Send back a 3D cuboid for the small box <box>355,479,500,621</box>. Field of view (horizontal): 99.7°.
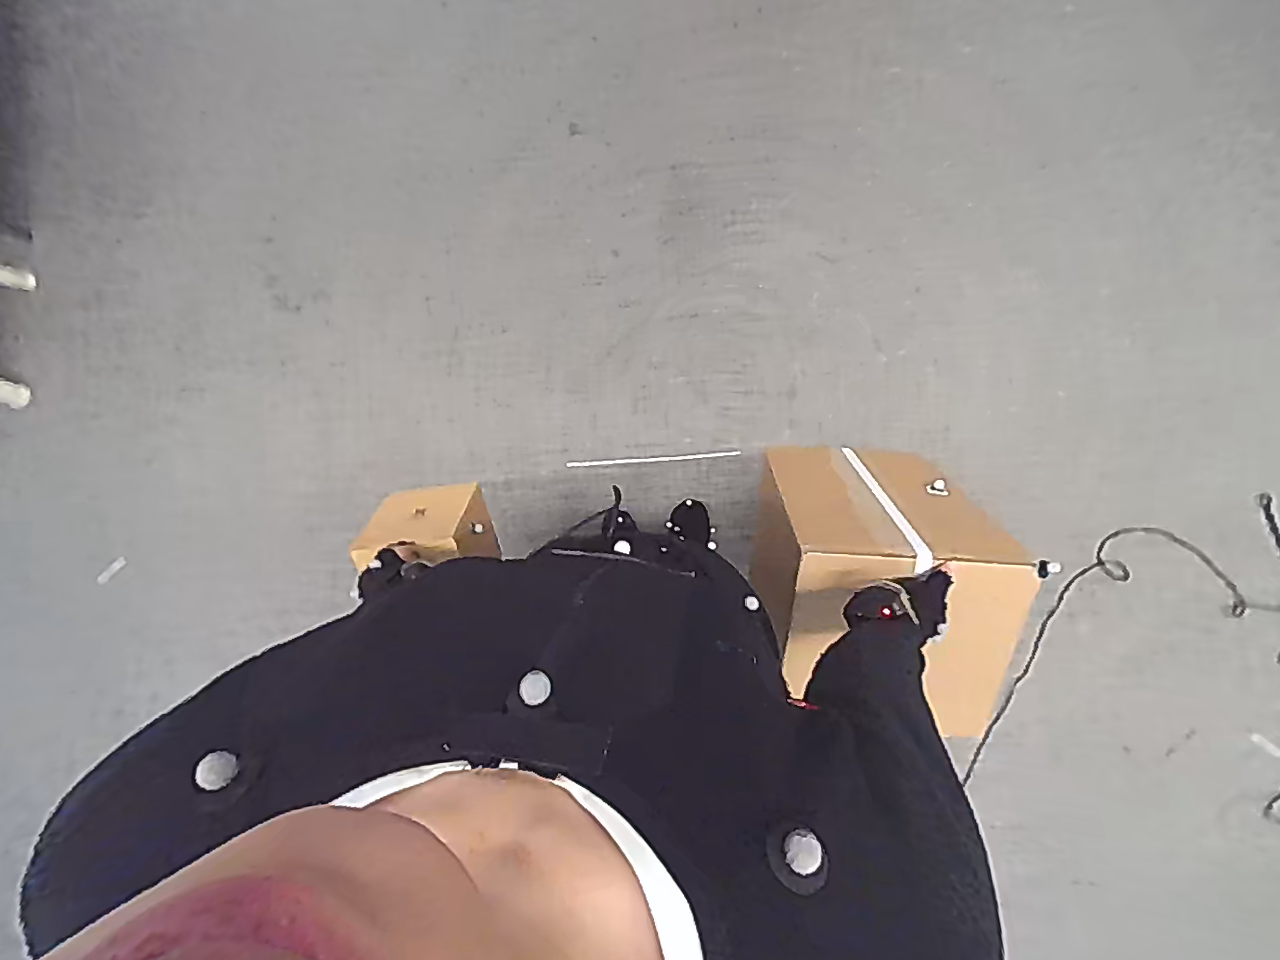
[{"bbox_3d":[-0.354,0.120,0.944,0.168,0.179,0.176,-8,119,2],"label":"small box"}]
